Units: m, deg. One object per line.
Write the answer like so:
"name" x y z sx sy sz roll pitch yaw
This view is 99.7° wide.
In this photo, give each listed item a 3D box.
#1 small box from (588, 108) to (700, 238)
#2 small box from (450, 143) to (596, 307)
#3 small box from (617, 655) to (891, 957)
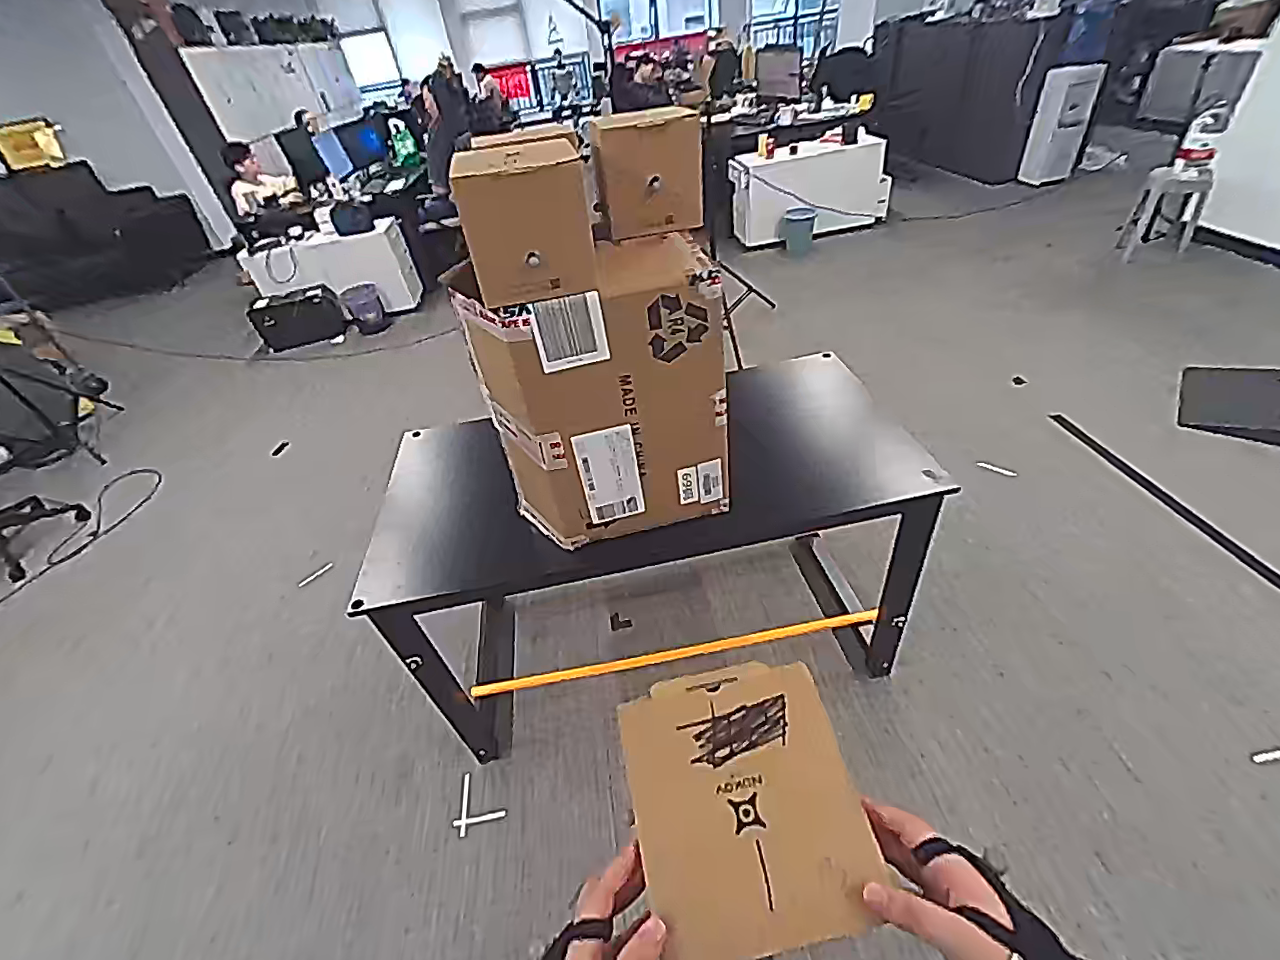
"small box" 0.008 -0.542 0.961 0.168 0.176 0.179 -11 40 -5
"small box" -0.164 -0.370 0.784 0.168 0.176 0.179 -12 41 -6
"small box" 0.079 0.281 0.472 0.168 0.176 0.179 -12 52 -4
